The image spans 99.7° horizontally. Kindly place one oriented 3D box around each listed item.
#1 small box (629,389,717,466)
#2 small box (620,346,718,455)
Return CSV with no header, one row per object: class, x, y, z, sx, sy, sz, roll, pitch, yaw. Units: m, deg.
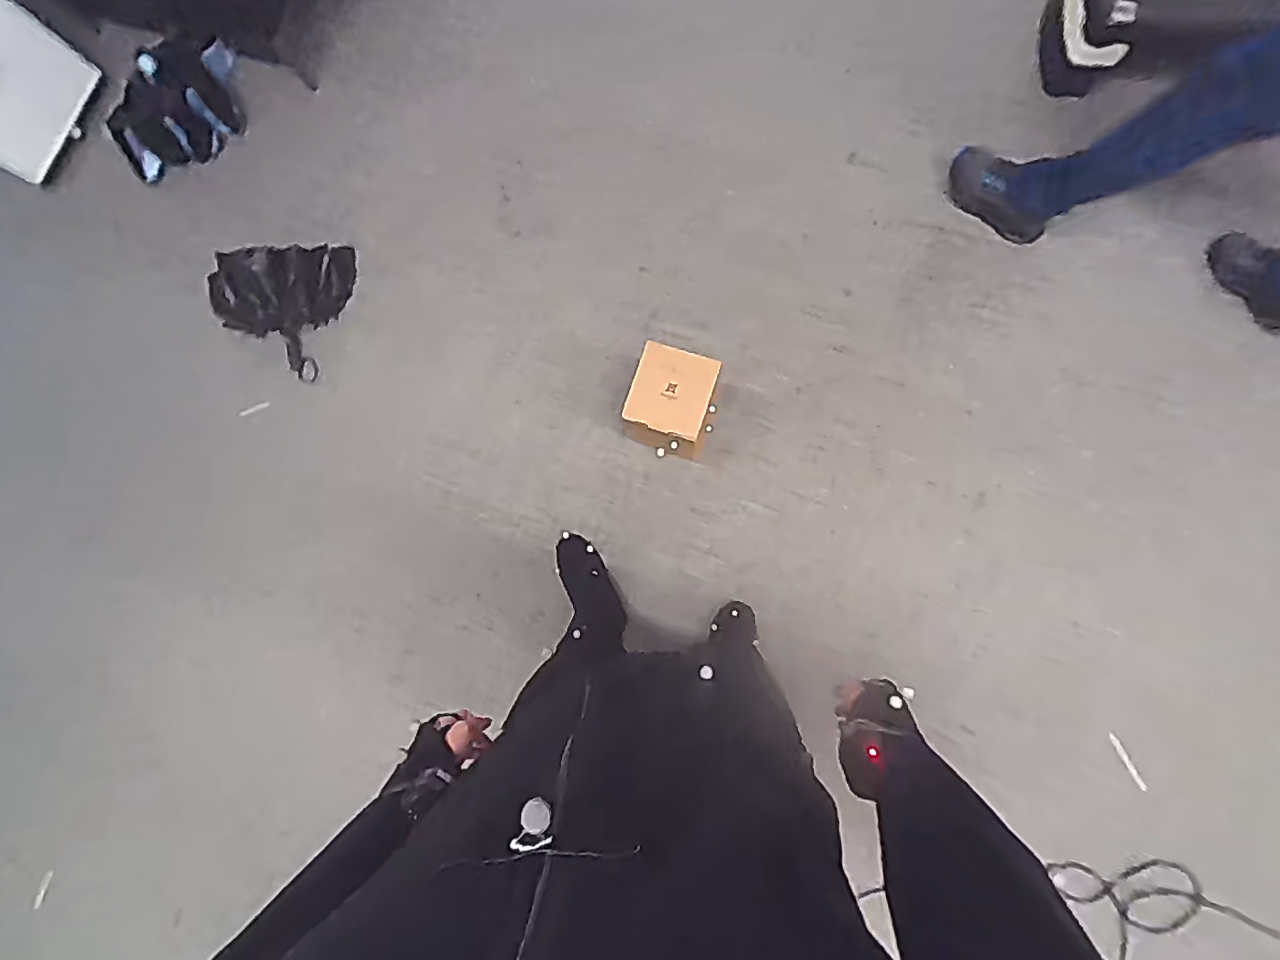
small box,0.083,-0.148,1.347,0.168,0.176,0.179,18,86,8
small box,0.067,-0.164,1.186,0.168,0.176,0.179,17,84,7
